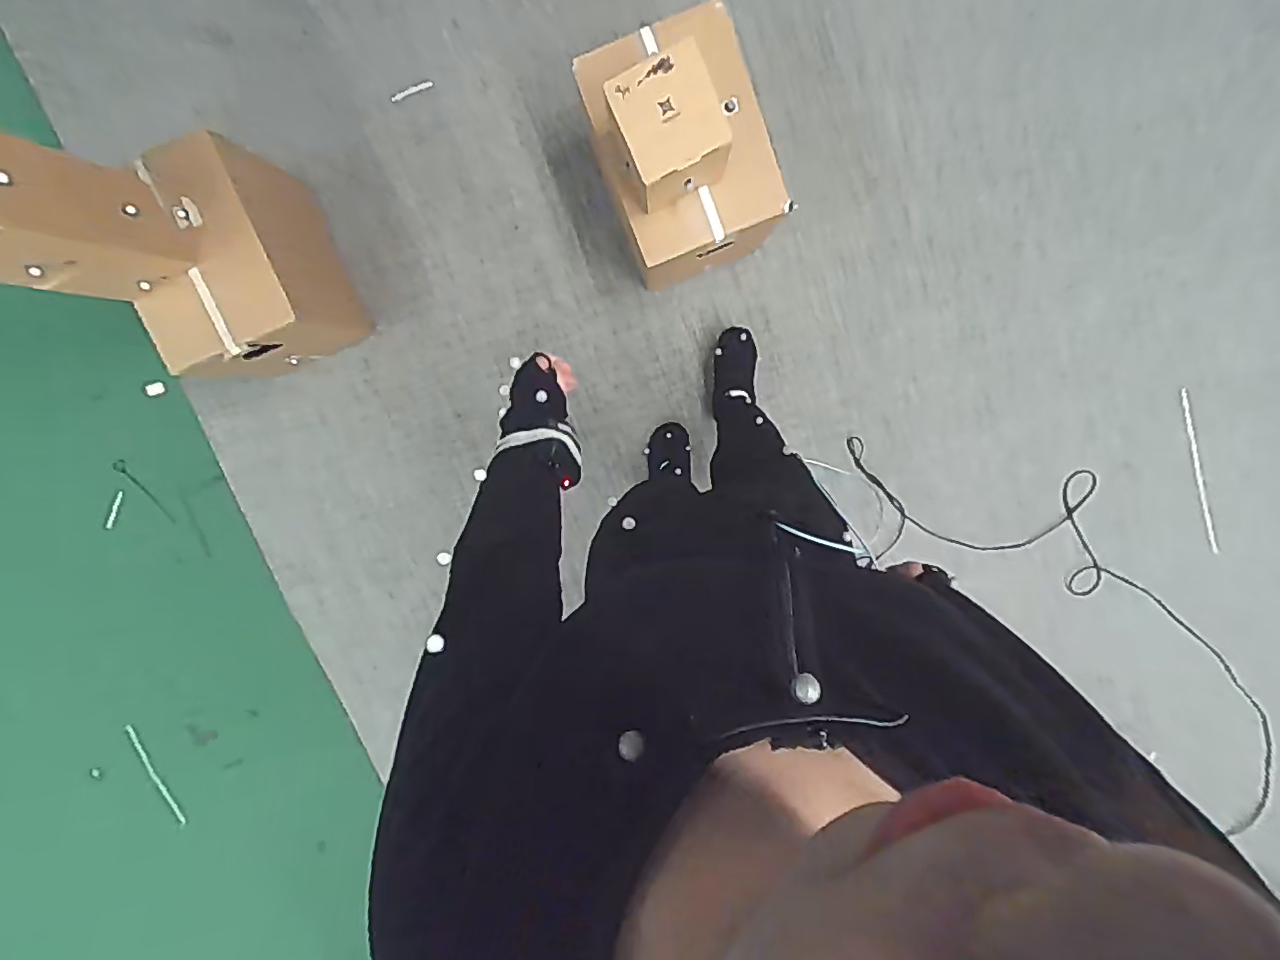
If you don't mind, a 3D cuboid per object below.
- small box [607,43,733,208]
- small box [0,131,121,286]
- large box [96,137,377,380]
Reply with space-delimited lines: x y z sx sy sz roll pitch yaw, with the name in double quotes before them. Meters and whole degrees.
"small box" 0.056 -0.624 0.986 0.168 0.176 0.179 -24 99 7
"small box" -1.022 -0.437 0.874 0.168 0.176 0.179 -21 99 8
"large box" -0.910 -0.482 1.276 0.320 0.320 0.408 -21 97 5
